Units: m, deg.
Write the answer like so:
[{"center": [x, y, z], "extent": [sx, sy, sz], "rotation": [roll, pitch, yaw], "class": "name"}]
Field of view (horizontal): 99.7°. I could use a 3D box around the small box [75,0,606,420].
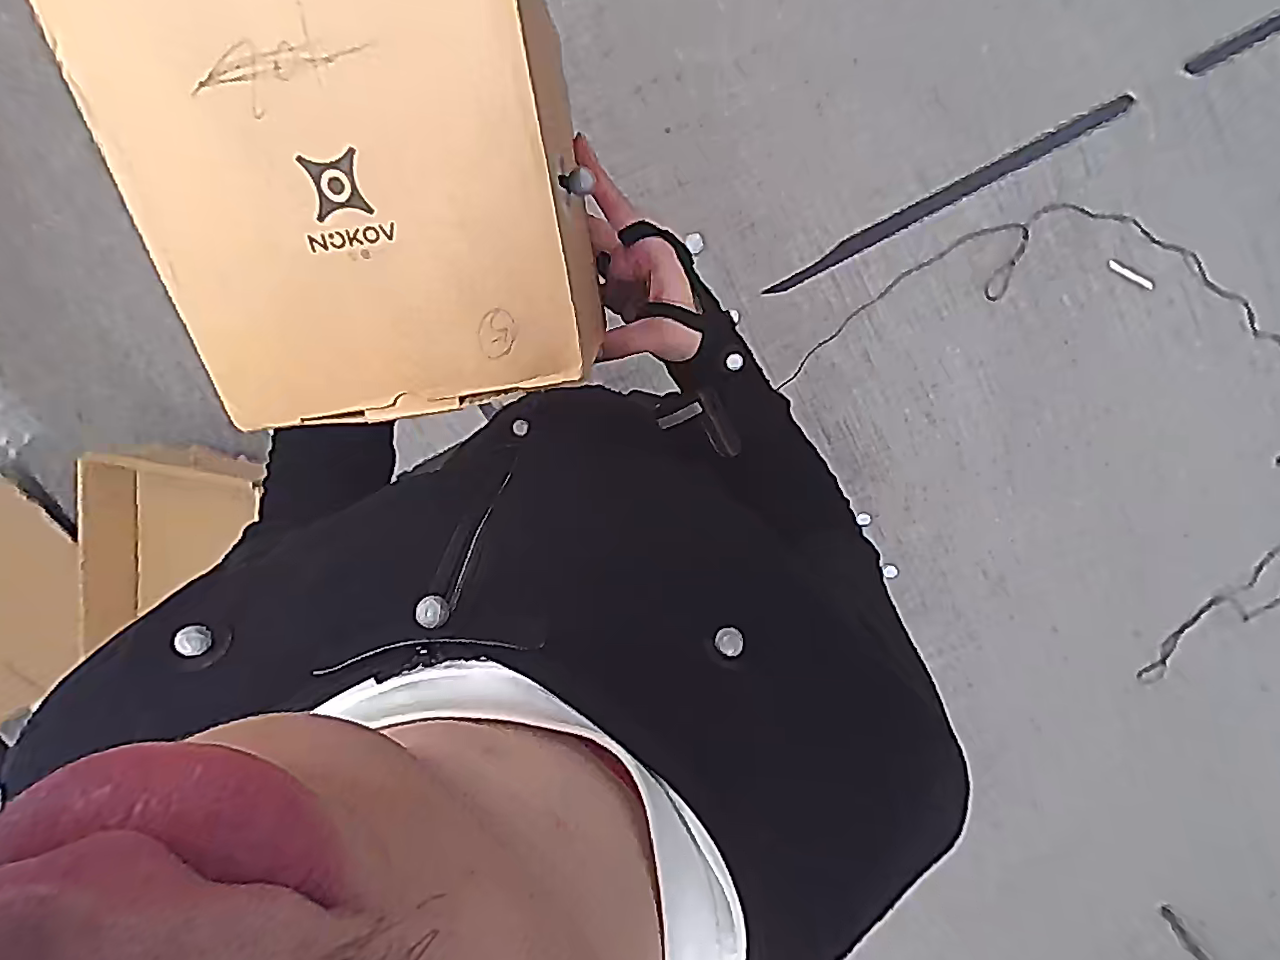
[{"center": [-0.114, -0.150, 0.296], "extent": [0.168, 0.176, 0.179], "rotation": [-8, 113, 2], "class": "small box"}]
